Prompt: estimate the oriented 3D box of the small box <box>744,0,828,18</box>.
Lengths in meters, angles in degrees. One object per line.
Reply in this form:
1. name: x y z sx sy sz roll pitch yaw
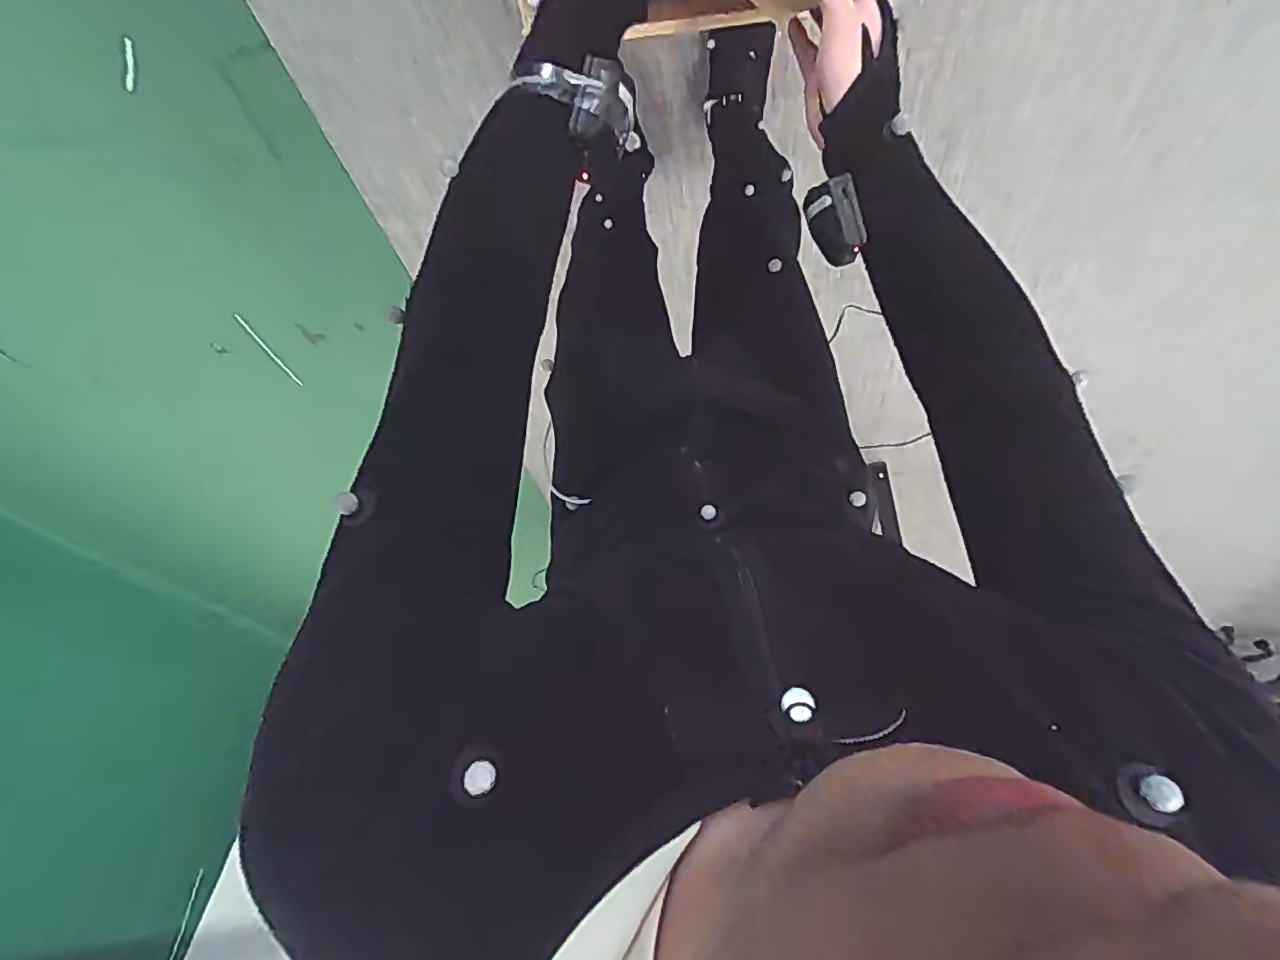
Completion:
1. small box: 0.121 -0.511 0.417 0.168 0.176 0.179 27 120 -20
